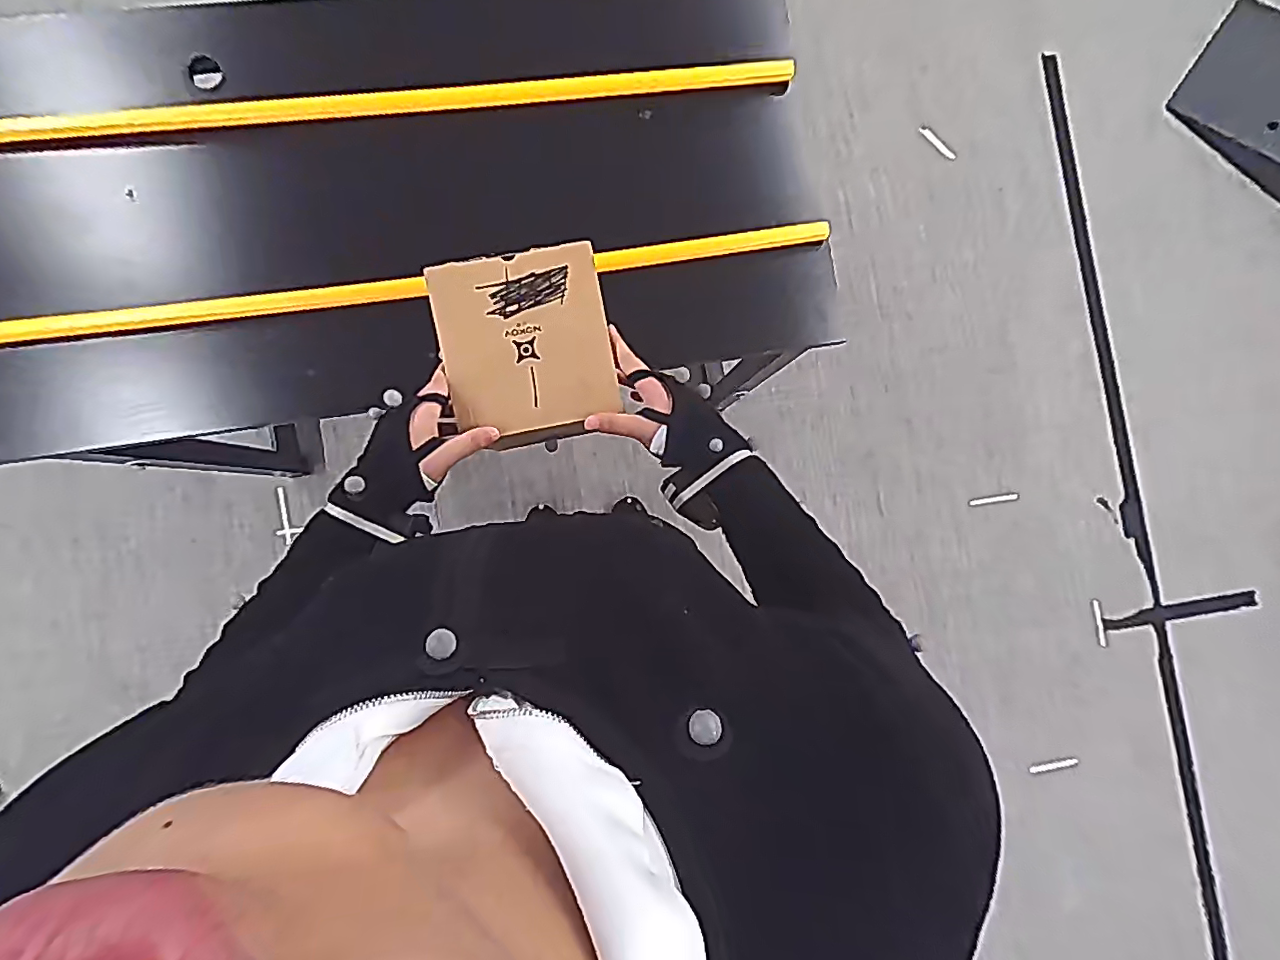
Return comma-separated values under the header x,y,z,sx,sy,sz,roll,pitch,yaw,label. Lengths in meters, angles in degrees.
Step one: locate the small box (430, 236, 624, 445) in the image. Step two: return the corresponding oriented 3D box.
x,y,z,sx,sy,sz,roll,pitch,yaw,label
-0.116,-0.143,0.611,0.168,0.176,0.179,-11,91,-3,small box
